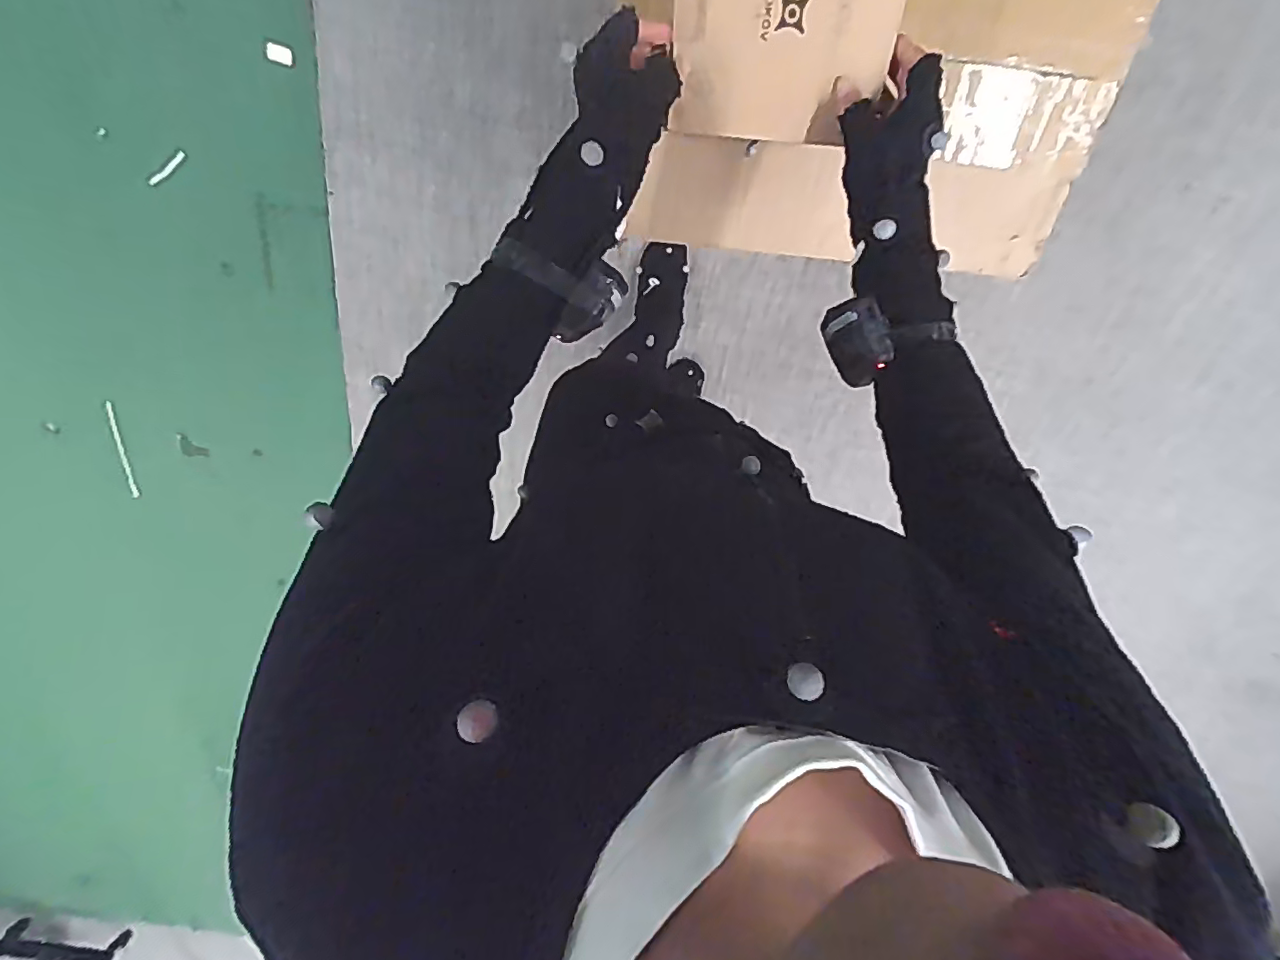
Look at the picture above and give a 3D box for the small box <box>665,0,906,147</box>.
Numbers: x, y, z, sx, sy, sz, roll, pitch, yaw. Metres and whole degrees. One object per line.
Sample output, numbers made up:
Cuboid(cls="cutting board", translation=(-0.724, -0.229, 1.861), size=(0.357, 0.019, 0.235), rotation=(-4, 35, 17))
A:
Cuboid(cls="small box", translation=(0.115, -0.400, 0.480), size=(0.179, 0.176, 0.168), rotation=(3, 124, -1))
